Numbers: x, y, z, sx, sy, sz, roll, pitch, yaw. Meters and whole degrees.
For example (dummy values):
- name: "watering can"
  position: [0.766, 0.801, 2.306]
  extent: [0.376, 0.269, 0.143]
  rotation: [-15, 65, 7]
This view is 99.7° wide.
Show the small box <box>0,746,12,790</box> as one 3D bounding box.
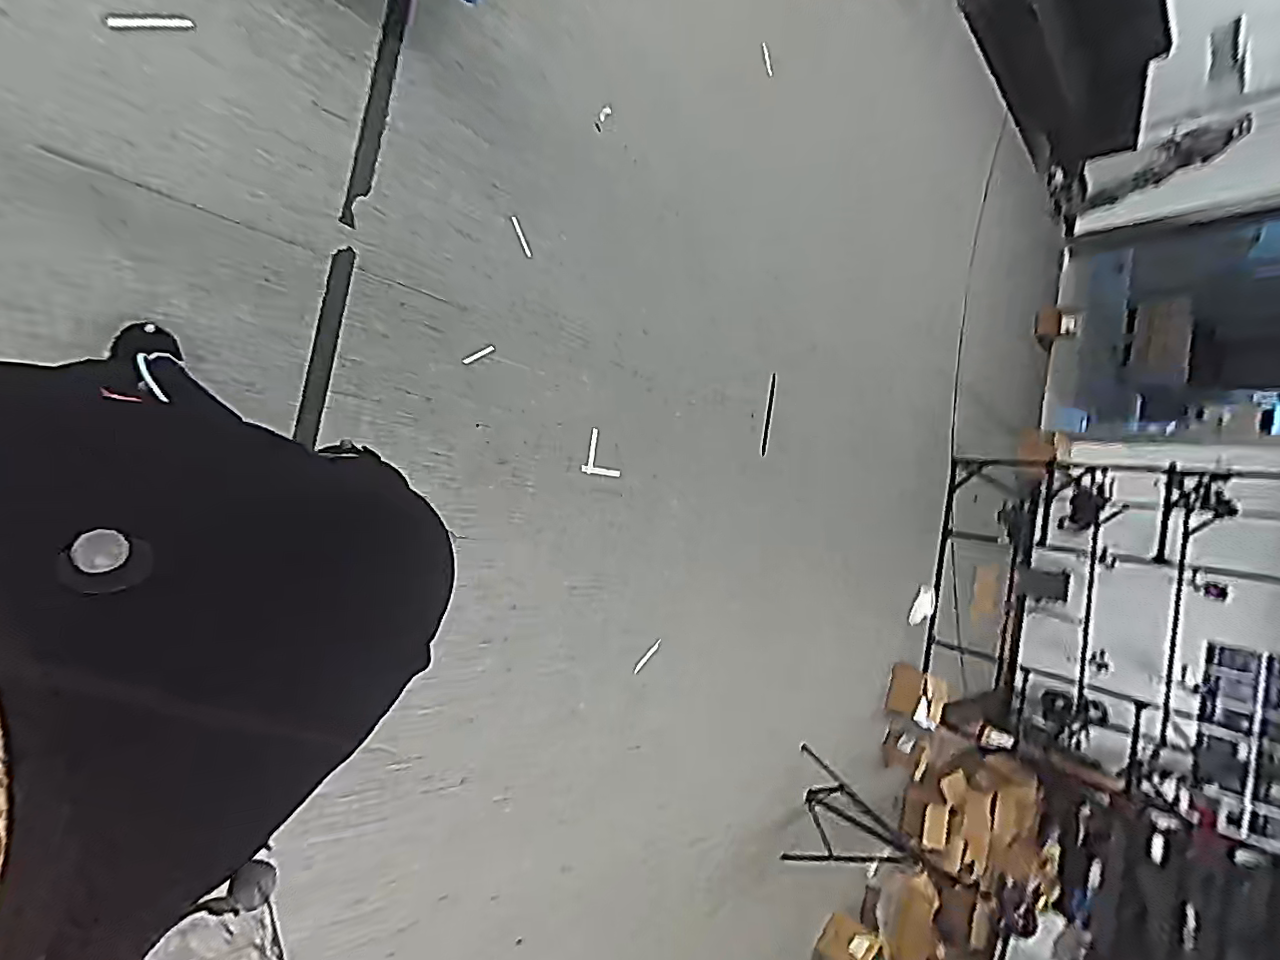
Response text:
- name: "small box"
  position: [-1.228, 0.569, 0.919]
  extent: [0.168, 0.176, 0.179]
  rotation: [20, 81, -40]
